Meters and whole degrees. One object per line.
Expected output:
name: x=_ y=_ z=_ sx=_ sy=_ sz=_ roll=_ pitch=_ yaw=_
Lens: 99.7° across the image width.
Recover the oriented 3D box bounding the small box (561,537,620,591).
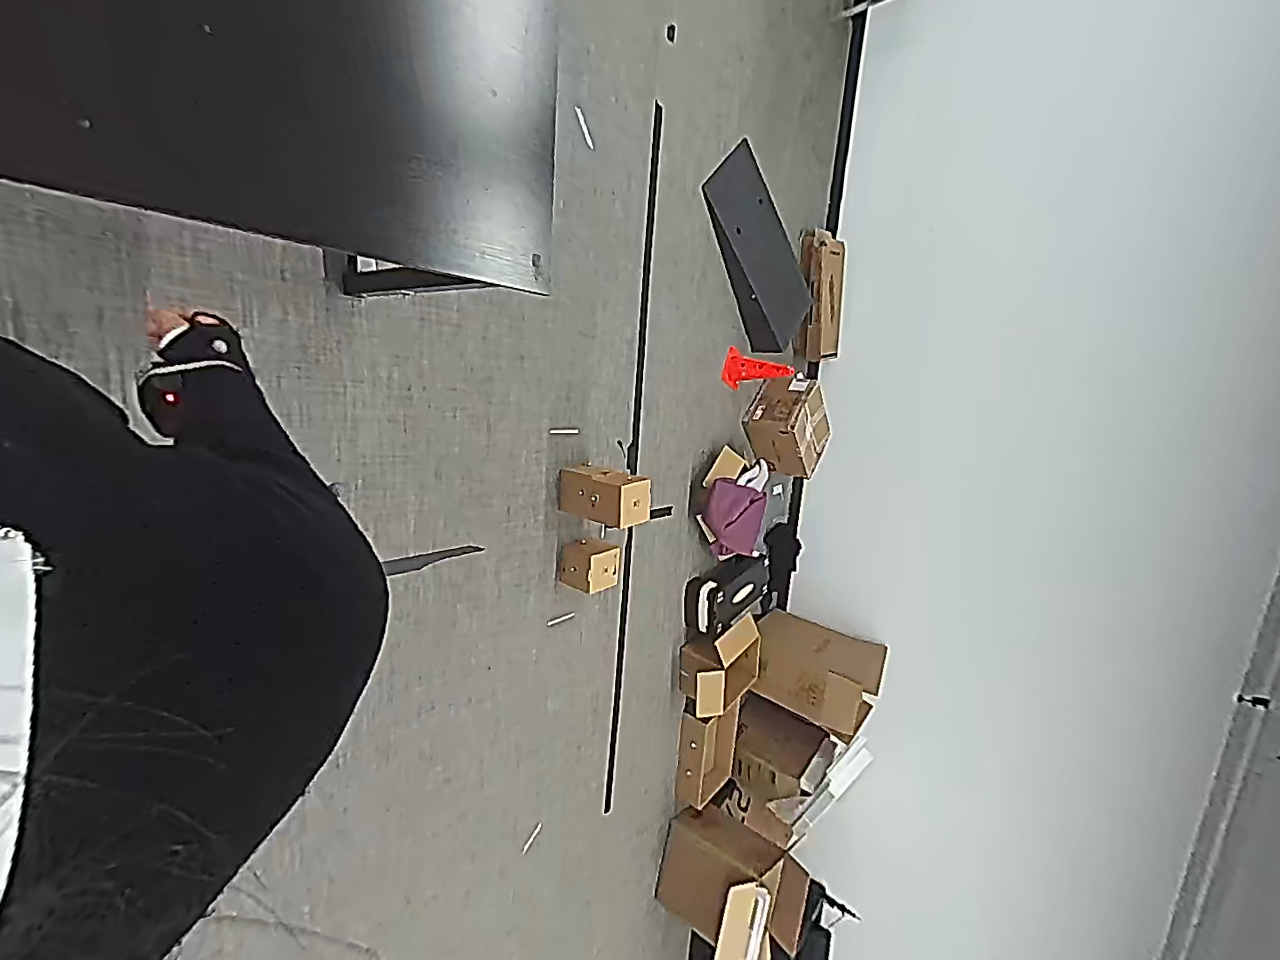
small box: x=-0.208 y=0.343 z=2.238 sx=0.179 sy=0.176 sz=0.168 roll=-8 pitch=106 yaw=-50

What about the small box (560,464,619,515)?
small box: x=-0.203 y=0.035 z=2.151 sx=0.168 sy=0.176 sz=0.179 roll=-11 pitch=109 yaw=-50

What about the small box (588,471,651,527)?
small box: x=-0.079 y=0.067 z=2.051 sx=0.179 sy=0.176 sz=0.168 roll=-14 pitch=109 yaw=-48
